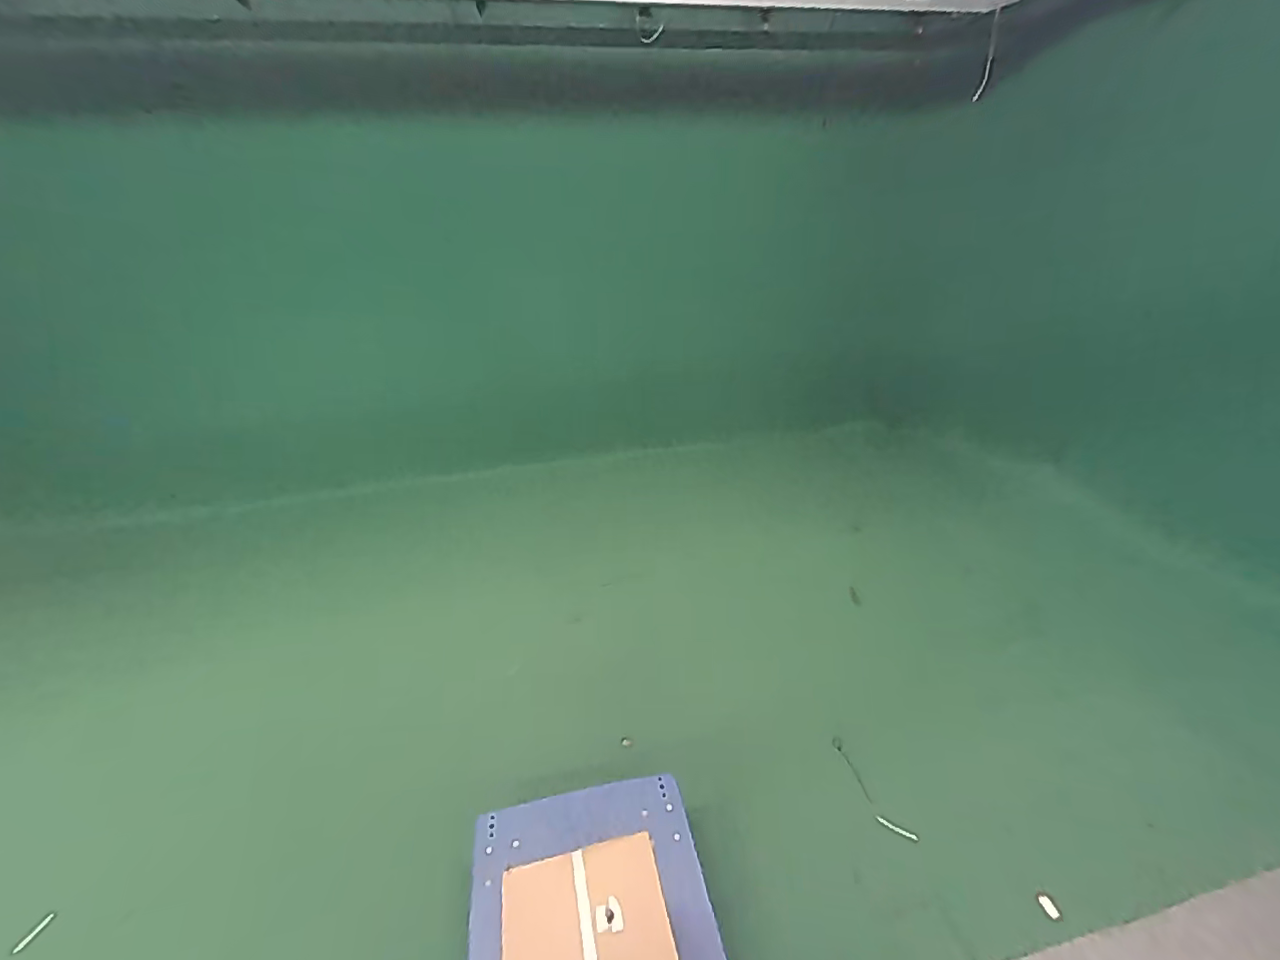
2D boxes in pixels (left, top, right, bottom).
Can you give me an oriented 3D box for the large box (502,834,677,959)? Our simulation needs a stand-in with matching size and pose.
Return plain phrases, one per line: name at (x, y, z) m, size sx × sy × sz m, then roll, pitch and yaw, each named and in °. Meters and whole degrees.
large box at (-0.082, 1.011, 1.045) m, size 0.320 × 0.320 × 0.408 m, roll -8°, pitch 28°, yaw -11°
